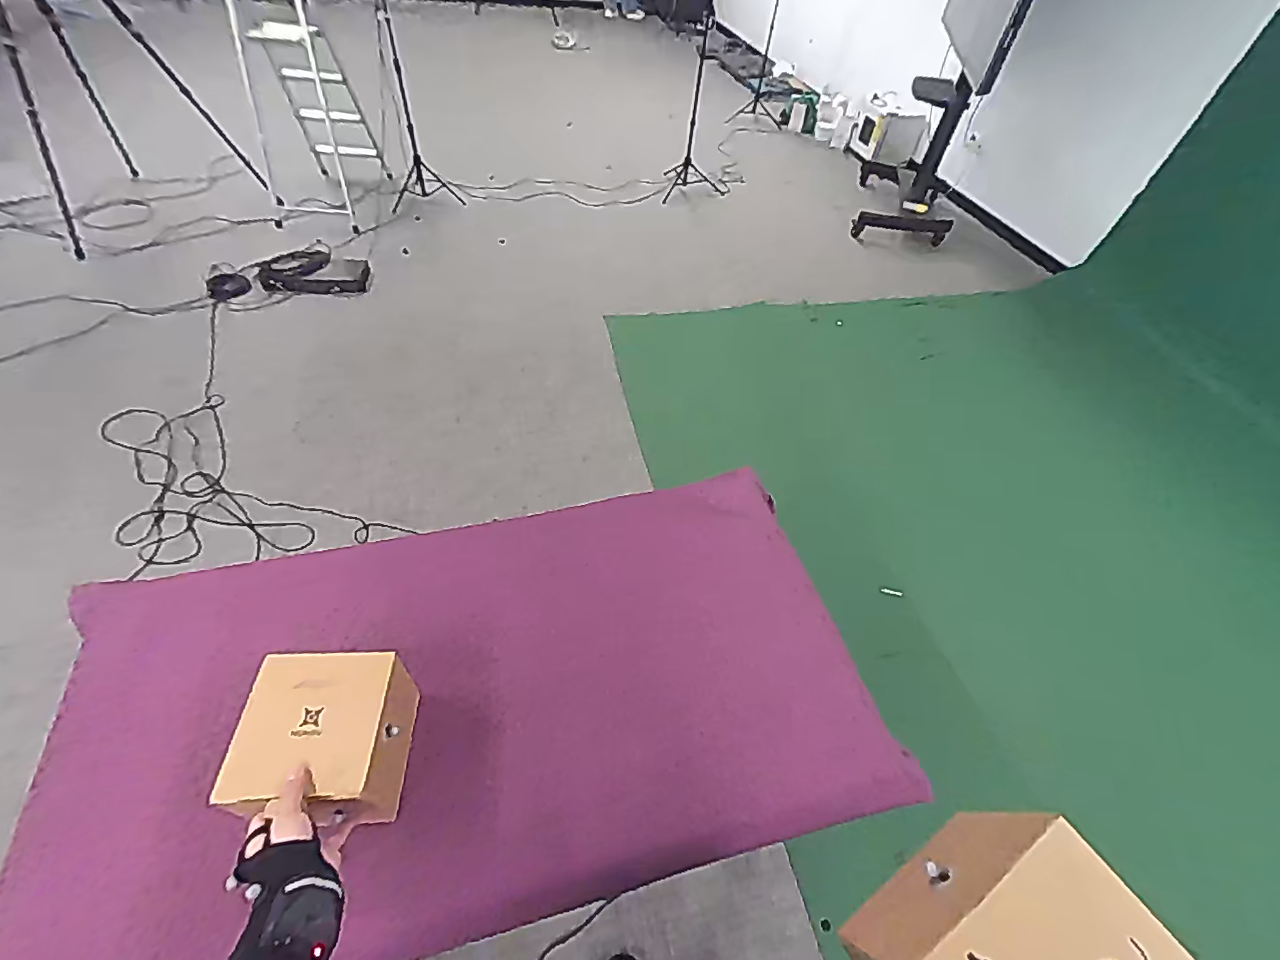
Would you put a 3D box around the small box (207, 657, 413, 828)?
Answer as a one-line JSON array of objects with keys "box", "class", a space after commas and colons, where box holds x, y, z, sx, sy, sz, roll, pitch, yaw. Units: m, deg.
[{"box": [-0.419, 0.357, 0.728, 0.168, 0.176, 0.179, 2, 48, -8], "class": "small box"}]
